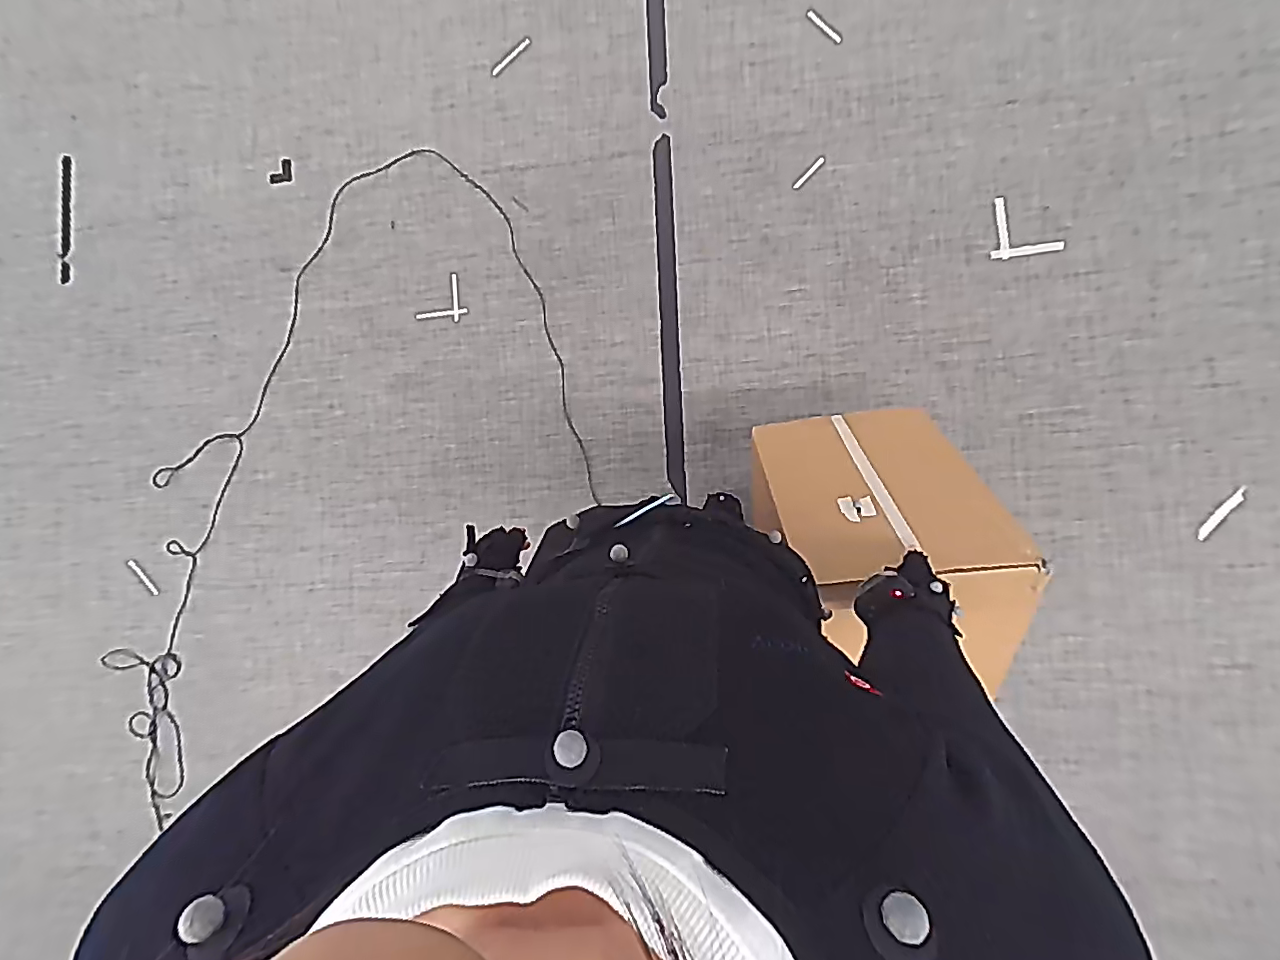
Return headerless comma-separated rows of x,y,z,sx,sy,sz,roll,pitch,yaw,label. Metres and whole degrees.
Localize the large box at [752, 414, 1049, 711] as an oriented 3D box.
0.384,0.128,0.941,0.320,0.408,0.320,-7,127,5,large box
